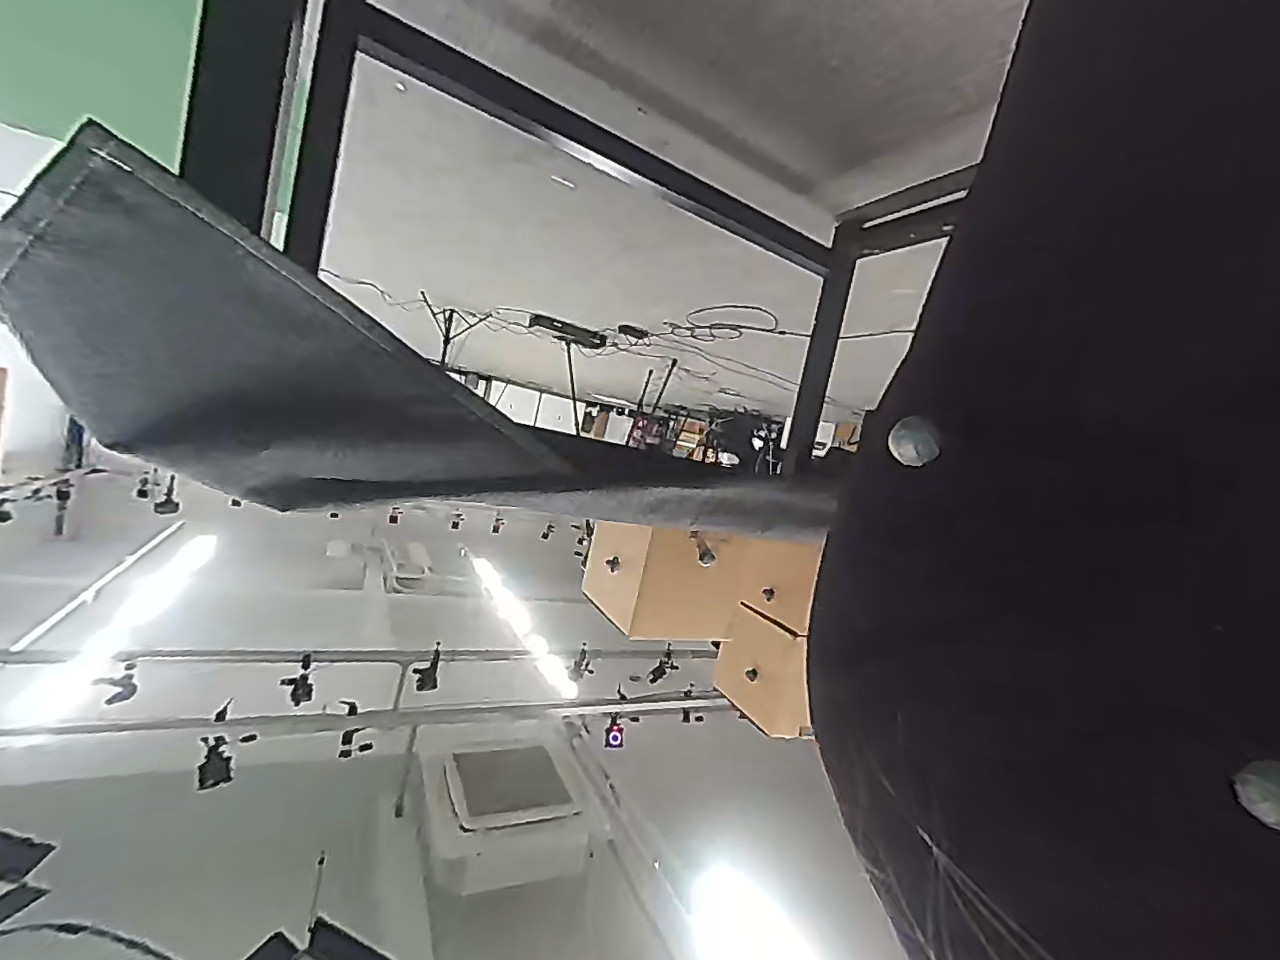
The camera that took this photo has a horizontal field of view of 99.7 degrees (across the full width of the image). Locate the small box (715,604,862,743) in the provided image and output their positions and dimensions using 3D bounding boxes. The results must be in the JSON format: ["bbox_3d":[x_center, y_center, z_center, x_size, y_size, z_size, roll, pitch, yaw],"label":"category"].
[{"bbox_3d":[0.255,0.321,0.926,0.168,0.176,0.179,12,-178,-25],"label":"small box"}]

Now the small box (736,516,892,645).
[{"bbox_3d":[0.294,0.163,0.923,0.168,0.176,0.179,12,-177,-26],"label":"small box"}]

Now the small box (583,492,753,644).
[{"bbox_3d":[0.039,0.117,0.773,0.168,0.176,0.179,11,-176,-28],"label":"small box"}]
